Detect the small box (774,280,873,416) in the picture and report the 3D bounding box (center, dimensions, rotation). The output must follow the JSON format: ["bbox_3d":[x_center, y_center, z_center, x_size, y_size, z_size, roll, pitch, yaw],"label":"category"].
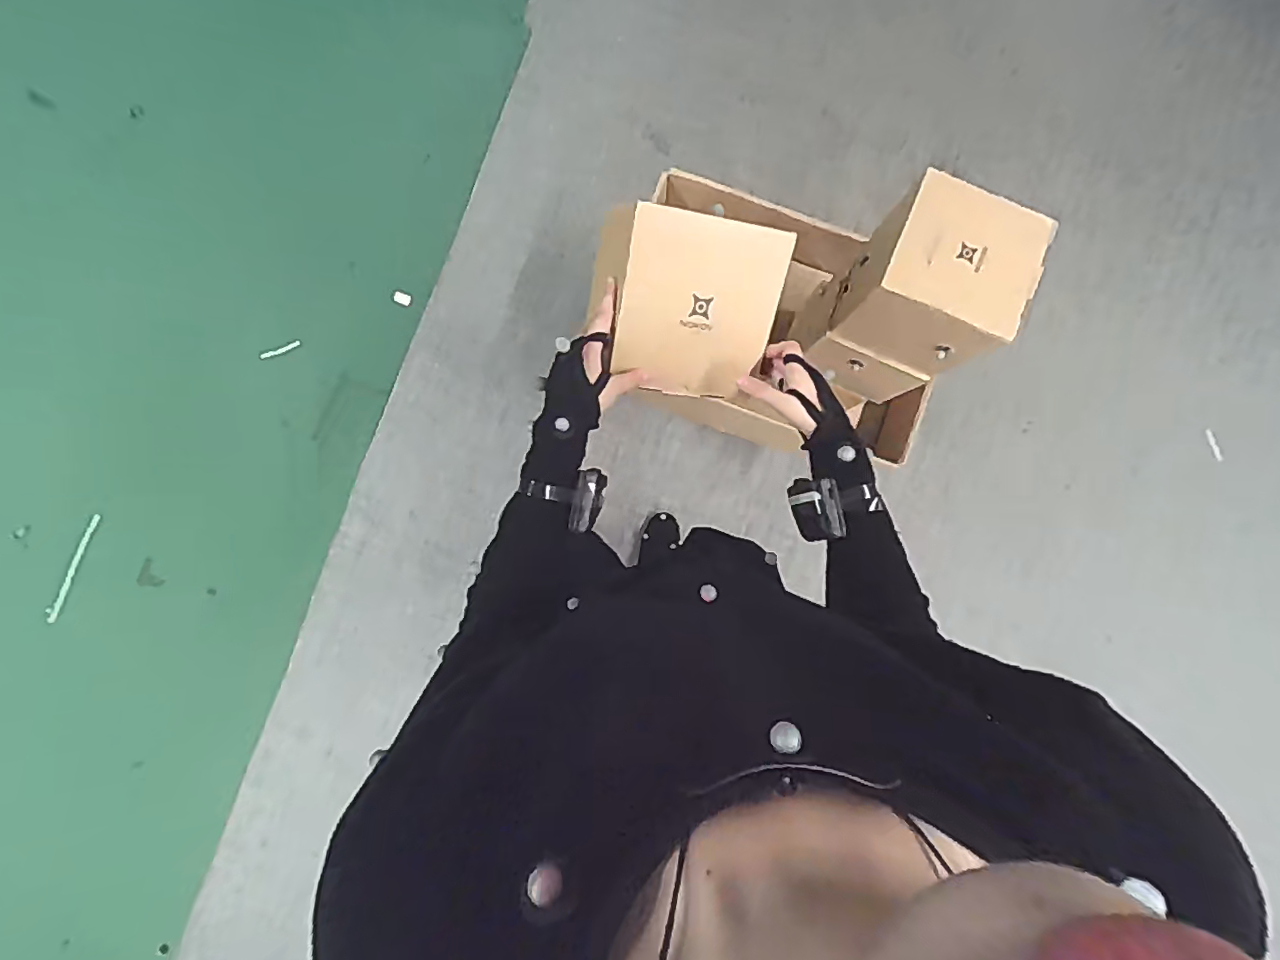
[{"bbox_3d":[0.375,-0.242,1.042,0.168,0.176,0.179,26,86,1],"label":"small box"}]

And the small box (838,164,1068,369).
[{"bbox_3d":[0.396,-0.264,0.716,0.179,0.176,0.168,24,86,2],"label":"small box"}]

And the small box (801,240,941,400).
[{"bbox_3d":[0.387,-0.246,0.878,0.179,0.176,0.168,24,87,1],"label":"small box"}]
